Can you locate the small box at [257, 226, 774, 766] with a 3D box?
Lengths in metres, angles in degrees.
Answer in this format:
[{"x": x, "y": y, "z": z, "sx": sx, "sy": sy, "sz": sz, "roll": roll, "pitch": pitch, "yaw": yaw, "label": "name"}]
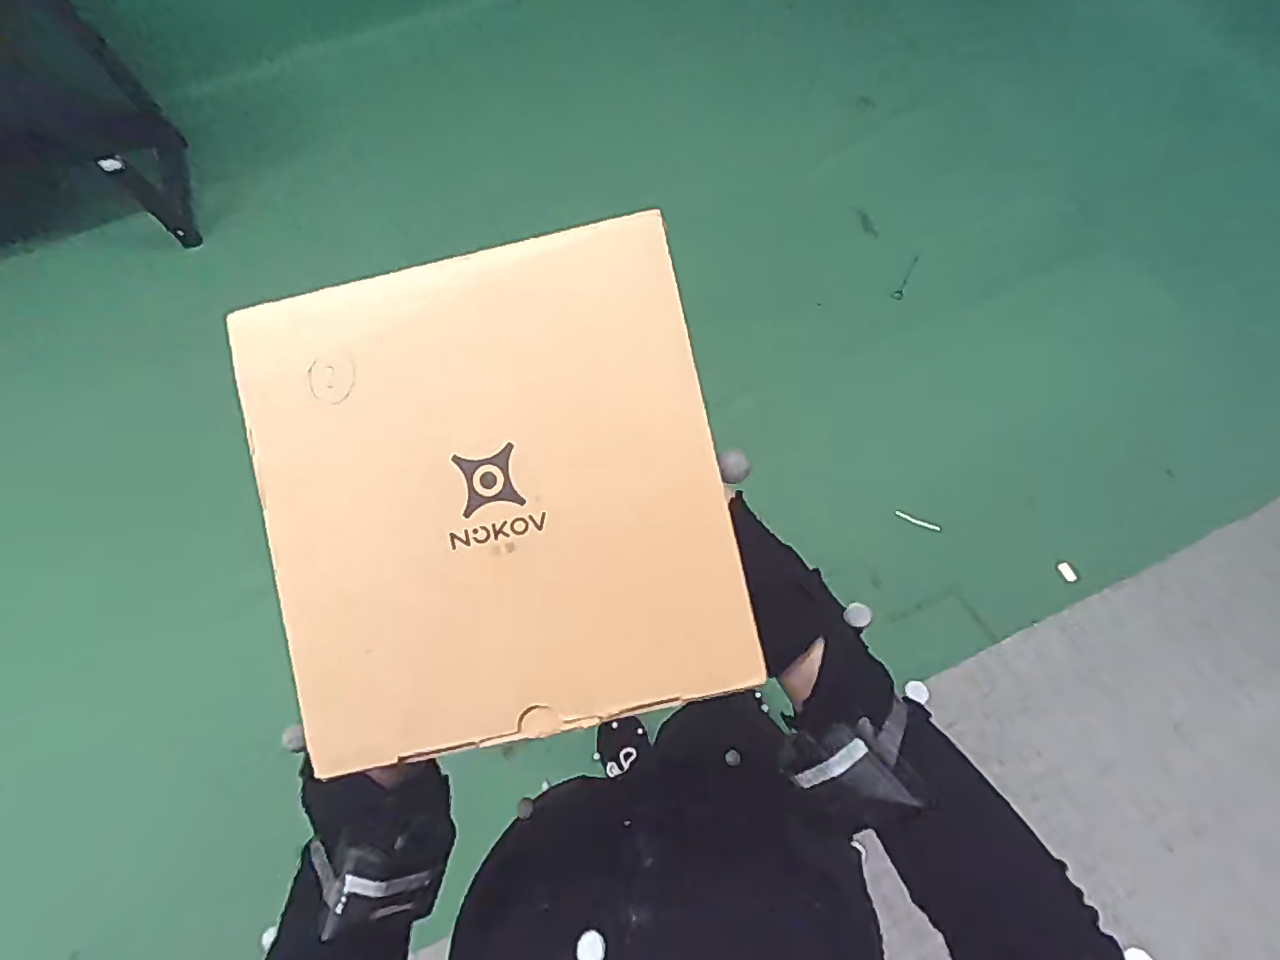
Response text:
[{"x": -0.046, "y": 0.007, "z": 0.280, "sx": 0.168, "sy": 0.176, "sz": 0.179, "roll": -13, "pitch": 89, "yaw": 2, "label": "small box"}]
